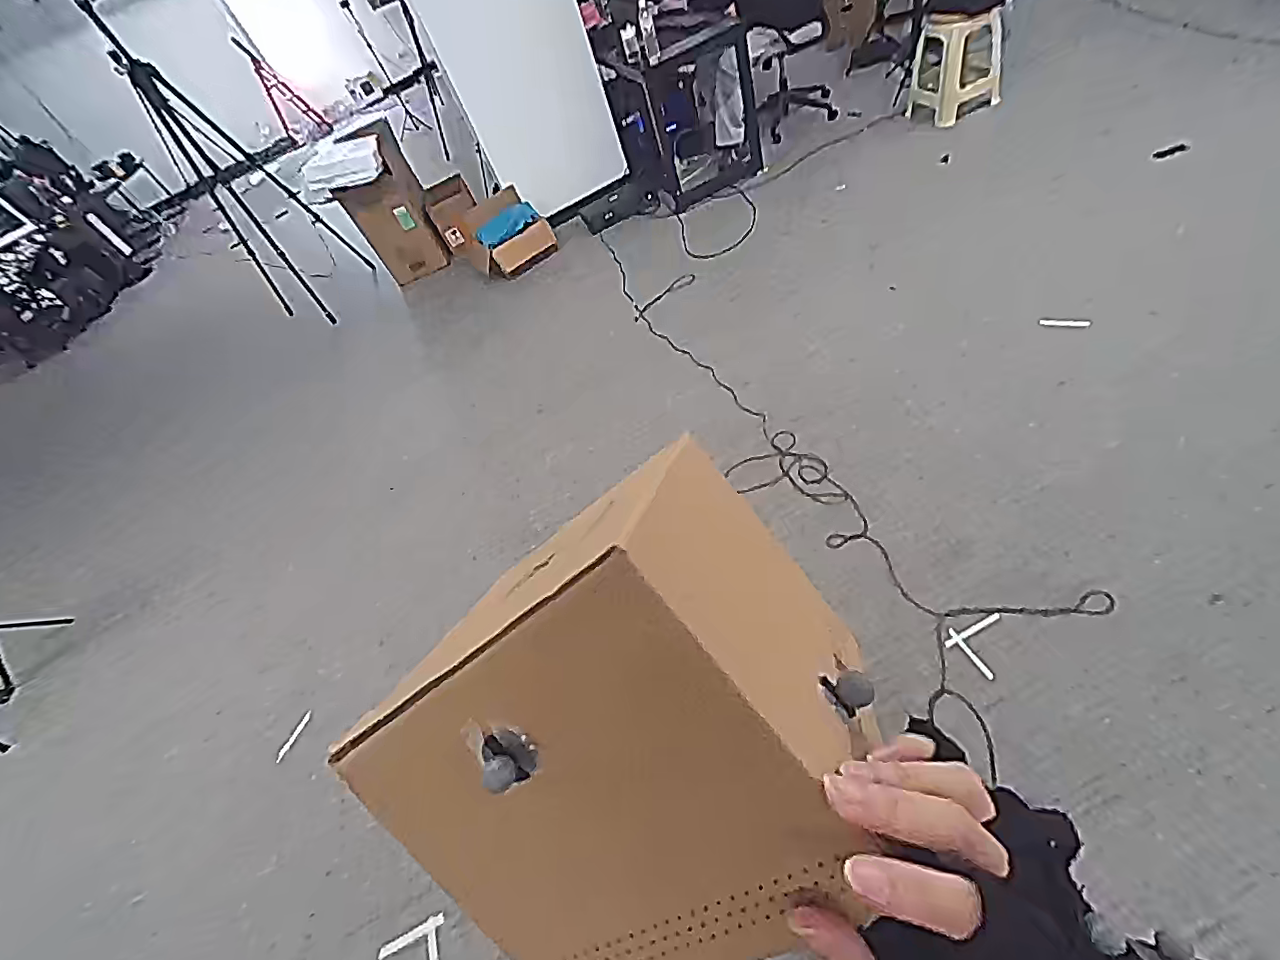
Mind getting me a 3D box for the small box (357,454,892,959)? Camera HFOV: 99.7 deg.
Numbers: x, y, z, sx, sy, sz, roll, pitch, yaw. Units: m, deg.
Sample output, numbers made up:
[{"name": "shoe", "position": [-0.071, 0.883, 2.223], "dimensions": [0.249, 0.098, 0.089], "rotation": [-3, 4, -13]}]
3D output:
[{"name": "small box", "position": [0.000, 0.118, 0.299], "dimensions": [0.179, 0.176, 0.168], "rotation": [-38, 6, 20]}]
